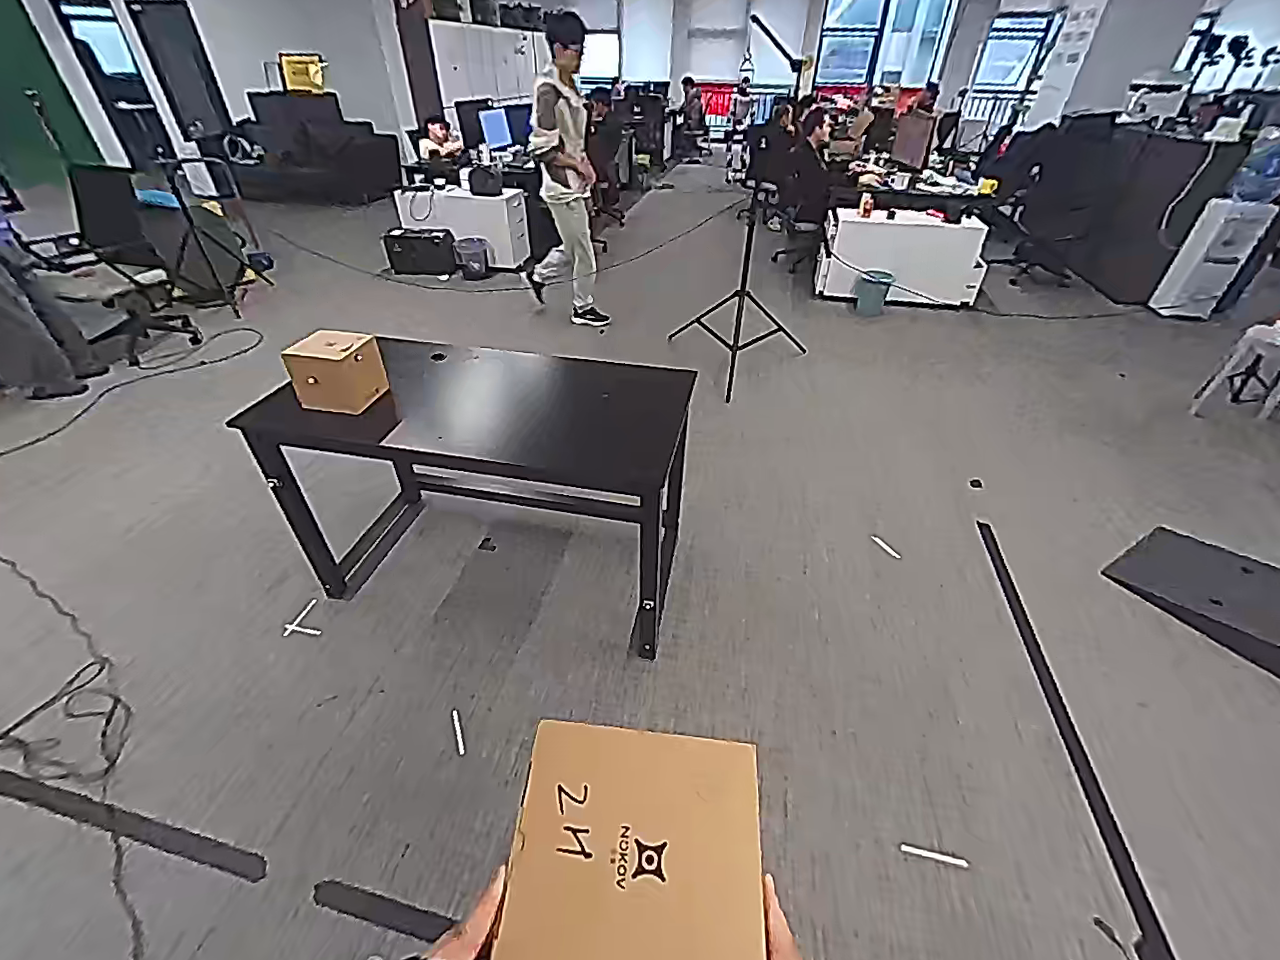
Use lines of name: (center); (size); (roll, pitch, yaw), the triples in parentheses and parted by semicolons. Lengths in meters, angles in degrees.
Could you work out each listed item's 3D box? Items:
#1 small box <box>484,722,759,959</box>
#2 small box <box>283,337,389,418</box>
small box: (-0.012, 0.314, 0.435); (0.179, 0.176, 0.168); (6, 48, 0)
small box: (-0.849, -0.289, 1.526); (0.179, 0.176, 0.168); (6, 38, 8)
